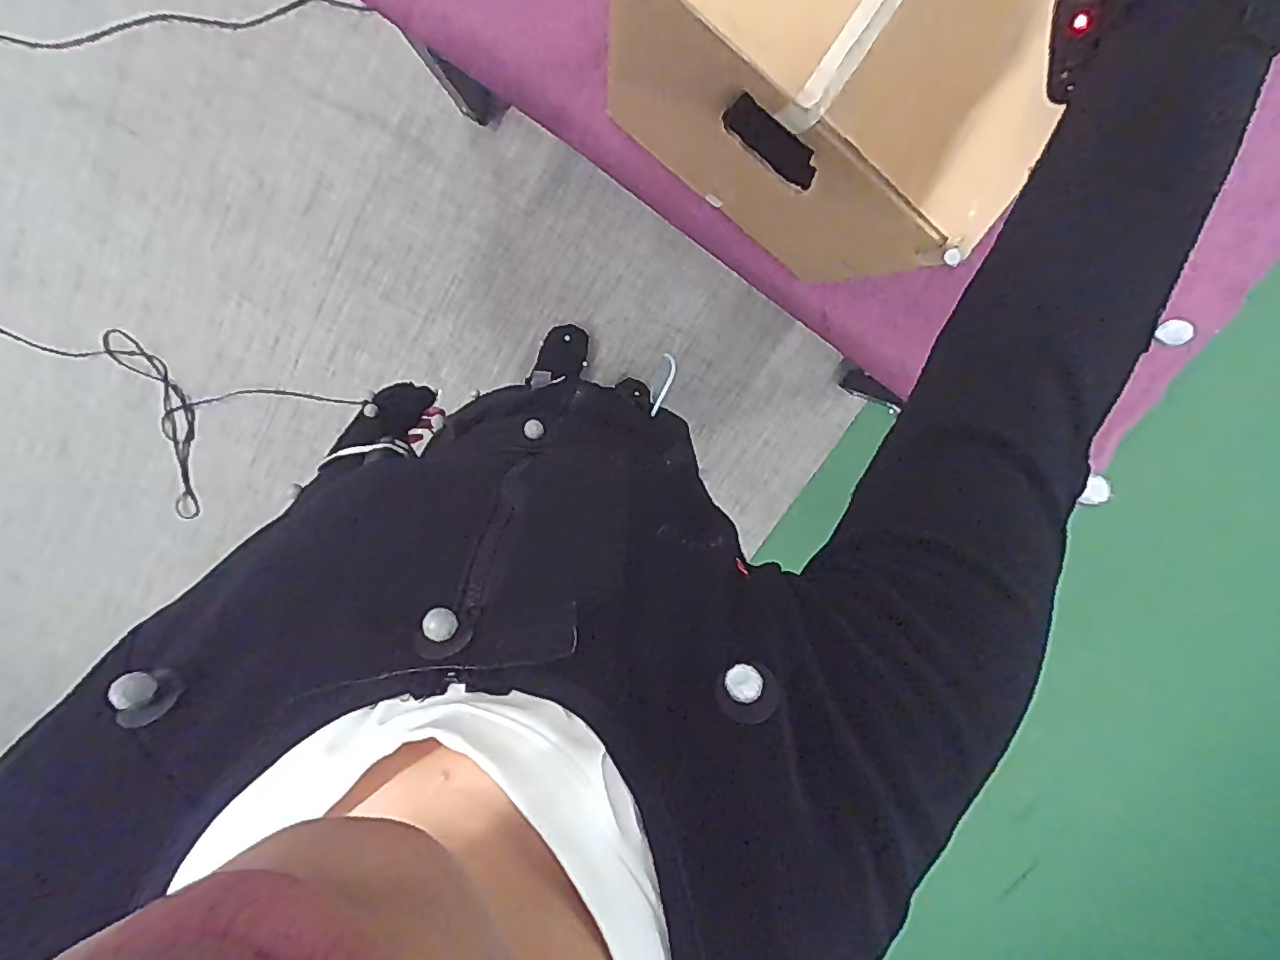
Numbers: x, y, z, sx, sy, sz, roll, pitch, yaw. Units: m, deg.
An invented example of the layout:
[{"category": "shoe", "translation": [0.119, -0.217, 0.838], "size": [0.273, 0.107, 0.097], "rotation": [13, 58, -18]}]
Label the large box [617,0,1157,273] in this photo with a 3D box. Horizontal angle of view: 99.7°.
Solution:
[{"category": "large box", "translation": [0.216, -0.452, 0.477], "size": [0.320, 0.320, 0.408], "rotation": [34, 103, -13]}]
